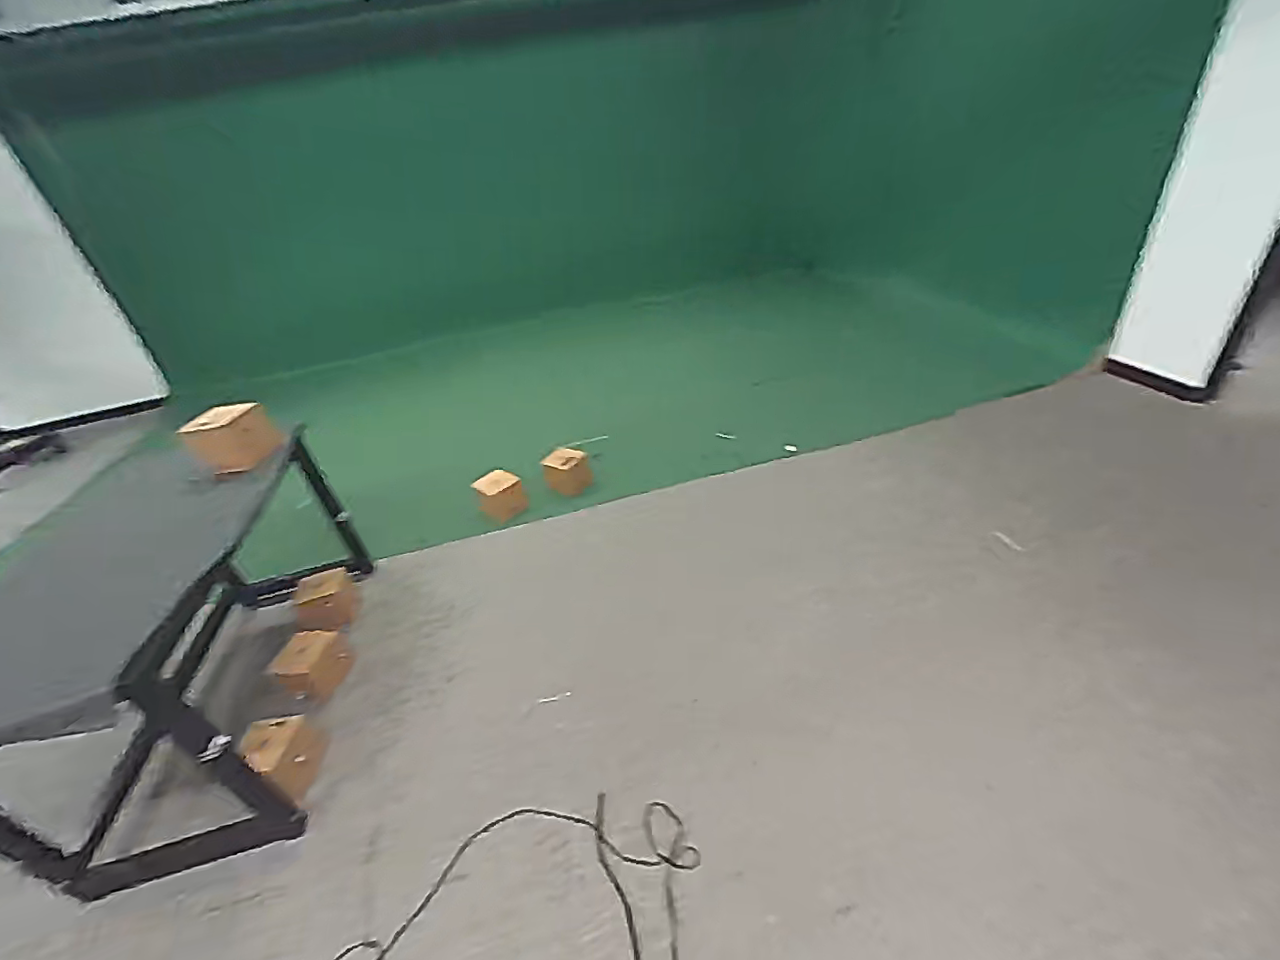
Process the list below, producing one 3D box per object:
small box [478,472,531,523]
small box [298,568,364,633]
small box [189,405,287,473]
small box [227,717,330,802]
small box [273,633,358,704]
[{"bbox_3d":[-0.670,0.087,2.673,0.179,0.176,0.168,22,45,37],"label":"small box"},{"bbox_3d":[-1.255,0.496,2.212,0.179,0.176,0.168,-17,34,-10],"label":"small box"},{"bbox_3d":[-1.368,-0.136,1.856,0.168,0.176,0.179,-4,35,13],"label":"small box"},{"bbox_3d":[-1.083,0.853,1.642,0.168,0.176,0.179,-7,34,4],"label":"small box"},{"bbox_3d":[-1.145,0.670,1.929,0.168,0.176,0.179,-3,35,11],"label":"small box"}]
